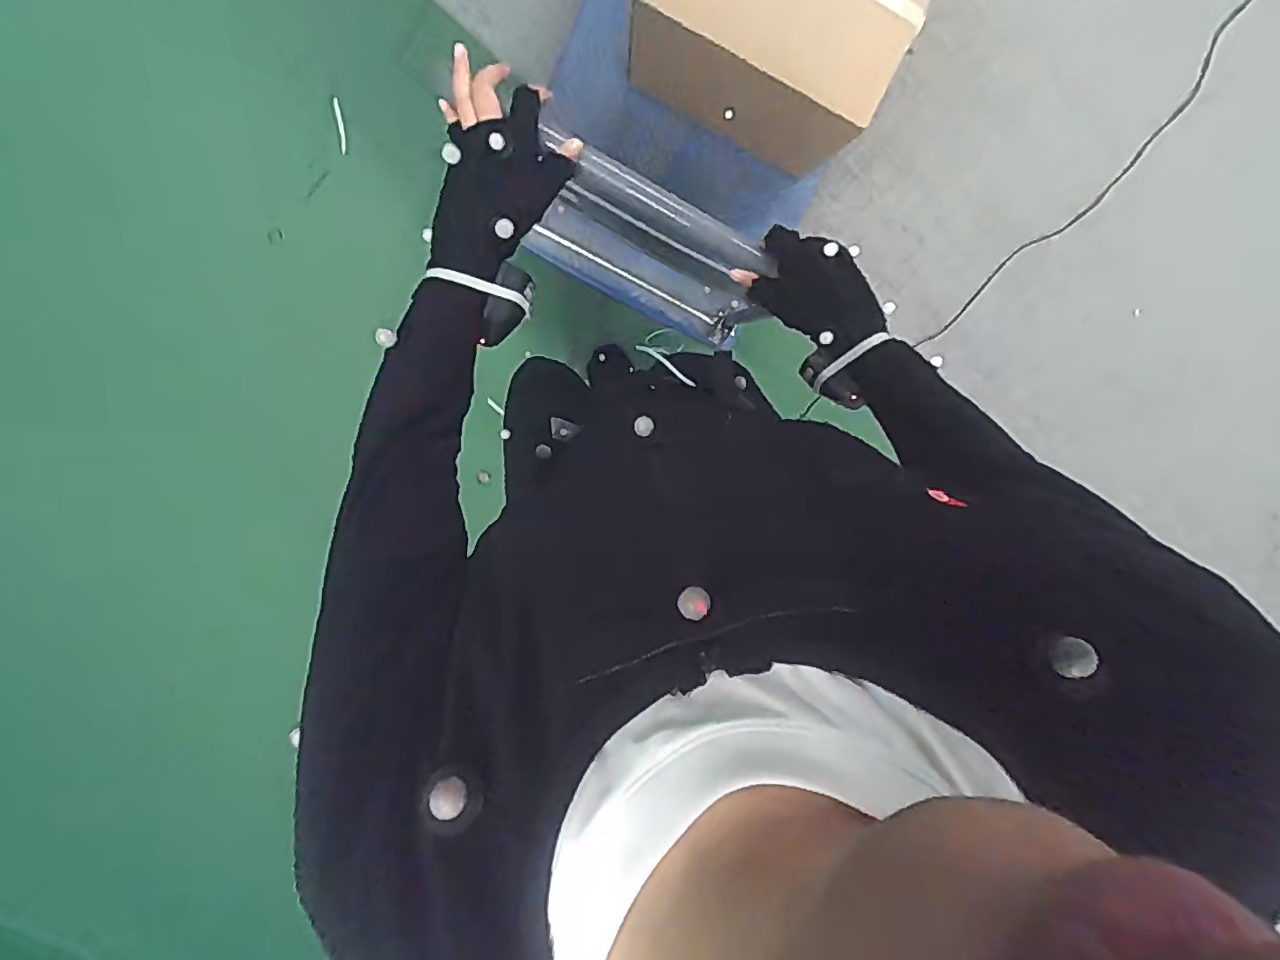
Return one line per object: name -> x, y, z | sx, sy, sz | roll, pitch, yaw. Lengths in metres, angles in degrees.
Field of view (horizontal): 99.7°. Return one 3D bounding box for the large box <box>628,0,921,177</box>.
large box -> 0.222, -0.797, 0.932 | 0.408, 0.320, 0.320 | 24, 103, -8
